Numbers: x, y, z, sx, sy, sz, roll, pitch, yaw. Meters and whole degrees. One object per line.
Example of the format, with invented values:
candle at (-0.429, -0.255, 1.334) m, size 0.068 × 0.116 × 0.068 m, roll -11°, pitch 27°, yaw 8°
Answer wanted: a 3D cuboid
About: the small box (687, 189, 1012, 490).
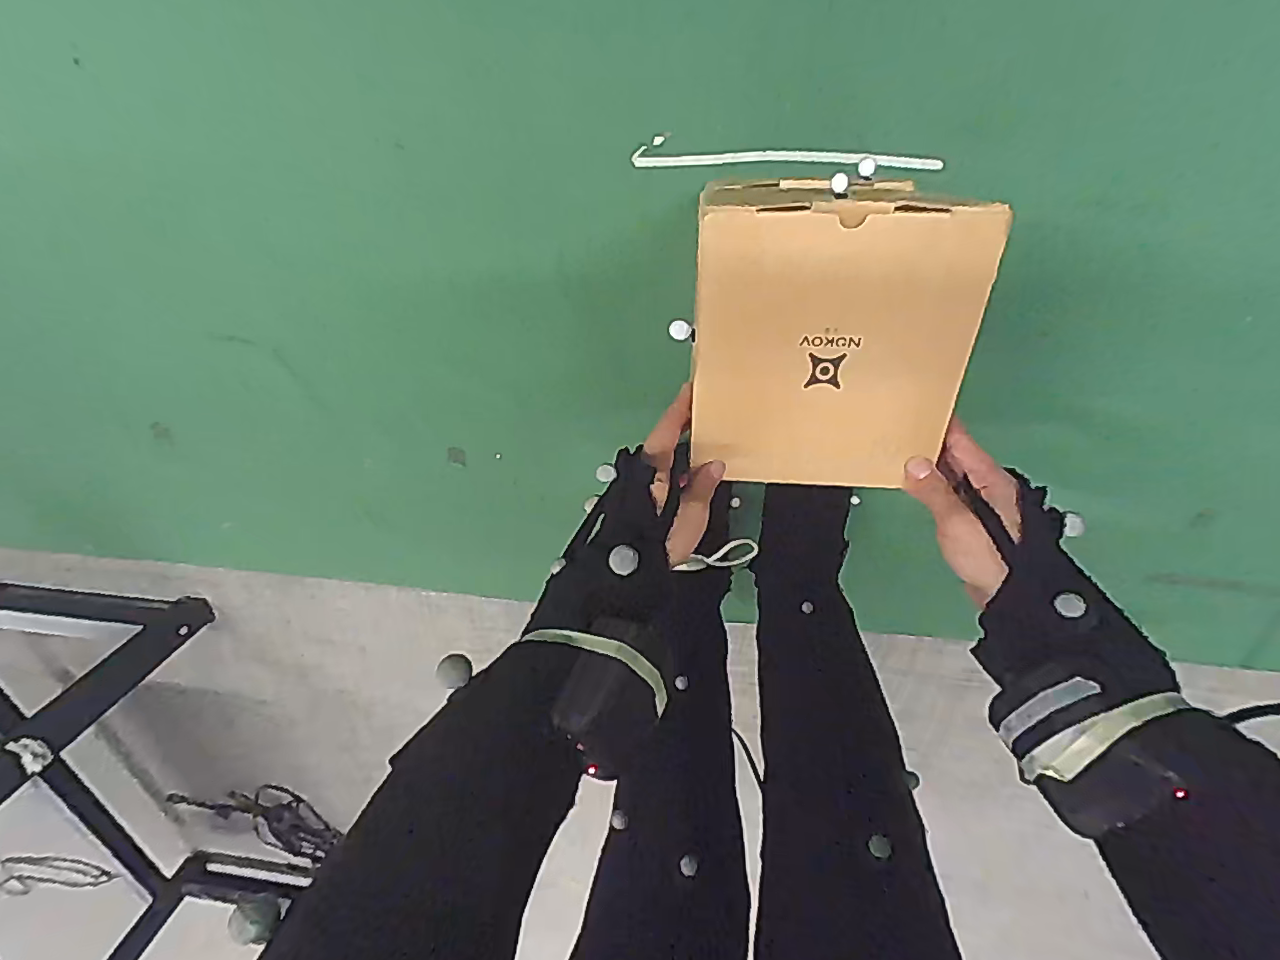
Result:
small box at (0.124, -0.113, 0.401) m, size 0.168 × 0.176 × 0.179 m, roll 3°, pitch 120°, yaw 5°
